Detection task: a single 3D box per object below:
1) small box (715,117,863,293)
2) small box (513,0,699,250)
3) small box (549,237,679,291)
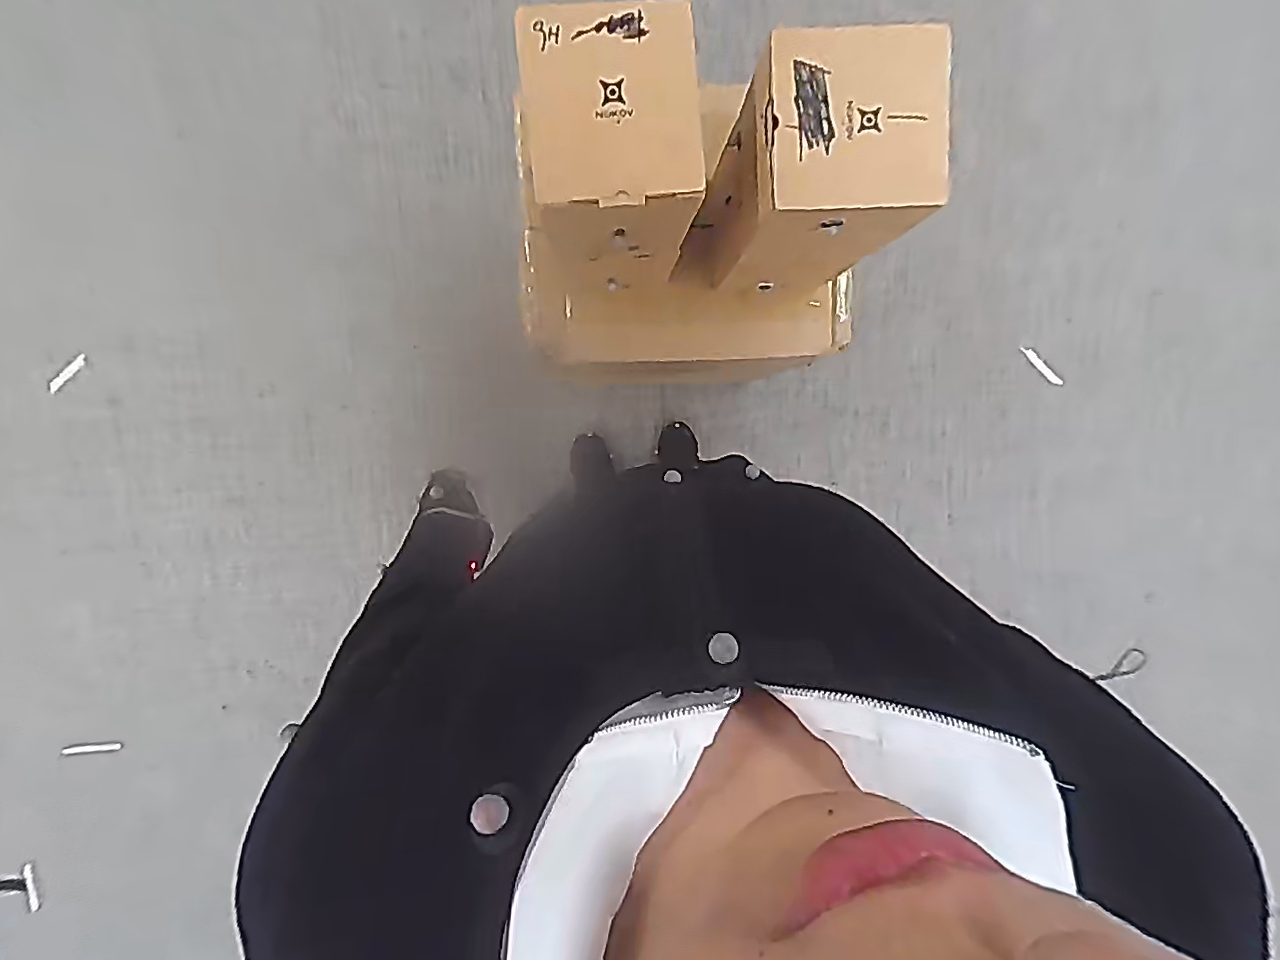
[{"bbox_3d":[0.200,-0.376,0.766,0.168,0.176,0.179,-3,97,0],"label":"small box"},{"bbox_3d":[-0.033,-0.362,0.587,0.168,0.176,0.179,-6,97,-3],"label":"small box"},{"bbox_3d":[-0.043,-0.376,0.751,0.168,0.176,0.179,-4,96,-3],"label":"small box"}]
